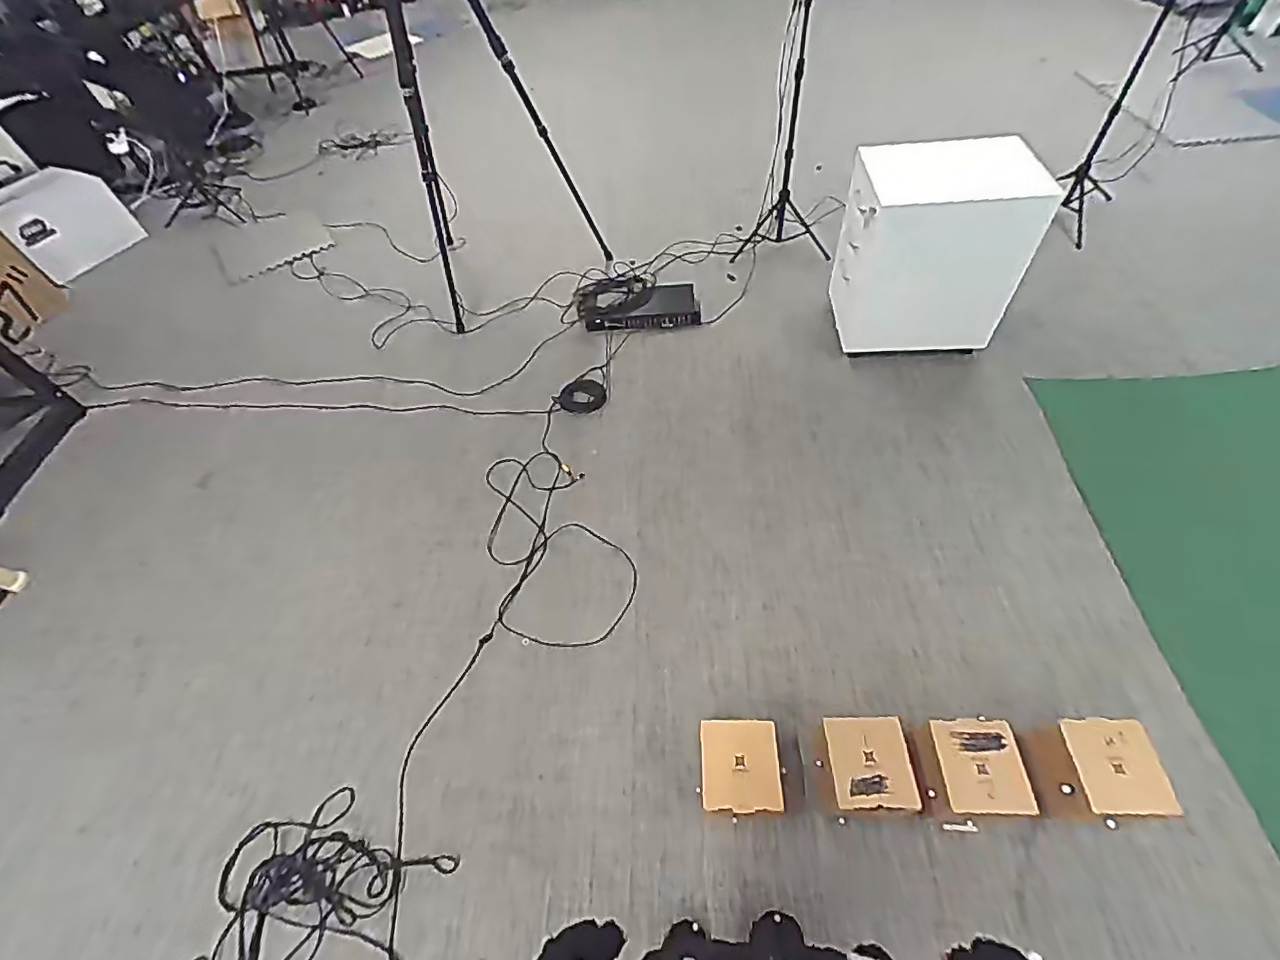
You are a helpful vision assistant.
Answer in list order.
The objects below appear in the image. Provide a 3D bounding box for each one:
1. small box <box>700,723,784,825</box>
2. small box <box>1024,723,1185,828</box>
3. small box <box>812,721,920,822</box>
[{"bbox_3d":[0.220,0.658,1.208,0.168,0.176,0.179,-2,53,5],"label":"small box"},{"bbox_3d":[0.964,0.627,1.143,0.168,0.176,0.179,-1,53,5],"label":"small box"},{"bbox_3d":[0.484,0.642,1.186,0.168,0.176,0.179,-3,52,6],"label":"small box"}]
